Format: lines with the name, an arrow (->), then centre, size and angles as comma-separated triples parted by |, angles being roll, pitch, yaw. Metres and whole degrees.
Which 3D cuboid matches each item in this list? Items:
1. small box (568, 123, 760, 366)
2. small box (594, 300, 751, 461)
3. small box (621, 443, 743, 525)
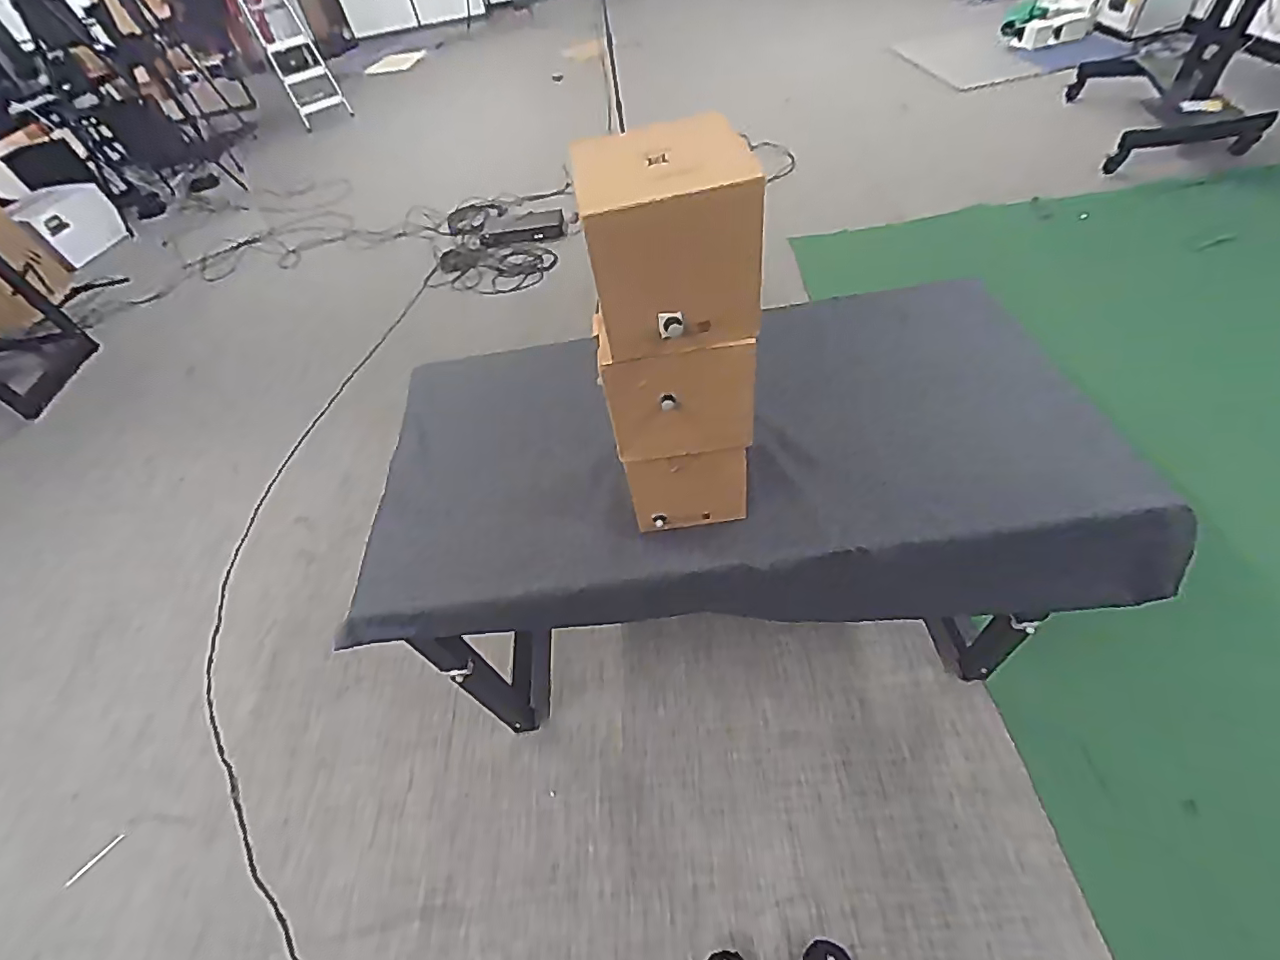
small box -> 0.025, -0.252, 0.588 | 0.168, 0.176, 0.179 | -13, 50, 1
small box -> 0.044, -0.143, 0.711 | 0.179, 0.176, 0.168 | -10, 48, 2
small box -> 0.064, -0.045, 0.837 | 0.168, 0.176, 0.179 | -8, 48, 4
